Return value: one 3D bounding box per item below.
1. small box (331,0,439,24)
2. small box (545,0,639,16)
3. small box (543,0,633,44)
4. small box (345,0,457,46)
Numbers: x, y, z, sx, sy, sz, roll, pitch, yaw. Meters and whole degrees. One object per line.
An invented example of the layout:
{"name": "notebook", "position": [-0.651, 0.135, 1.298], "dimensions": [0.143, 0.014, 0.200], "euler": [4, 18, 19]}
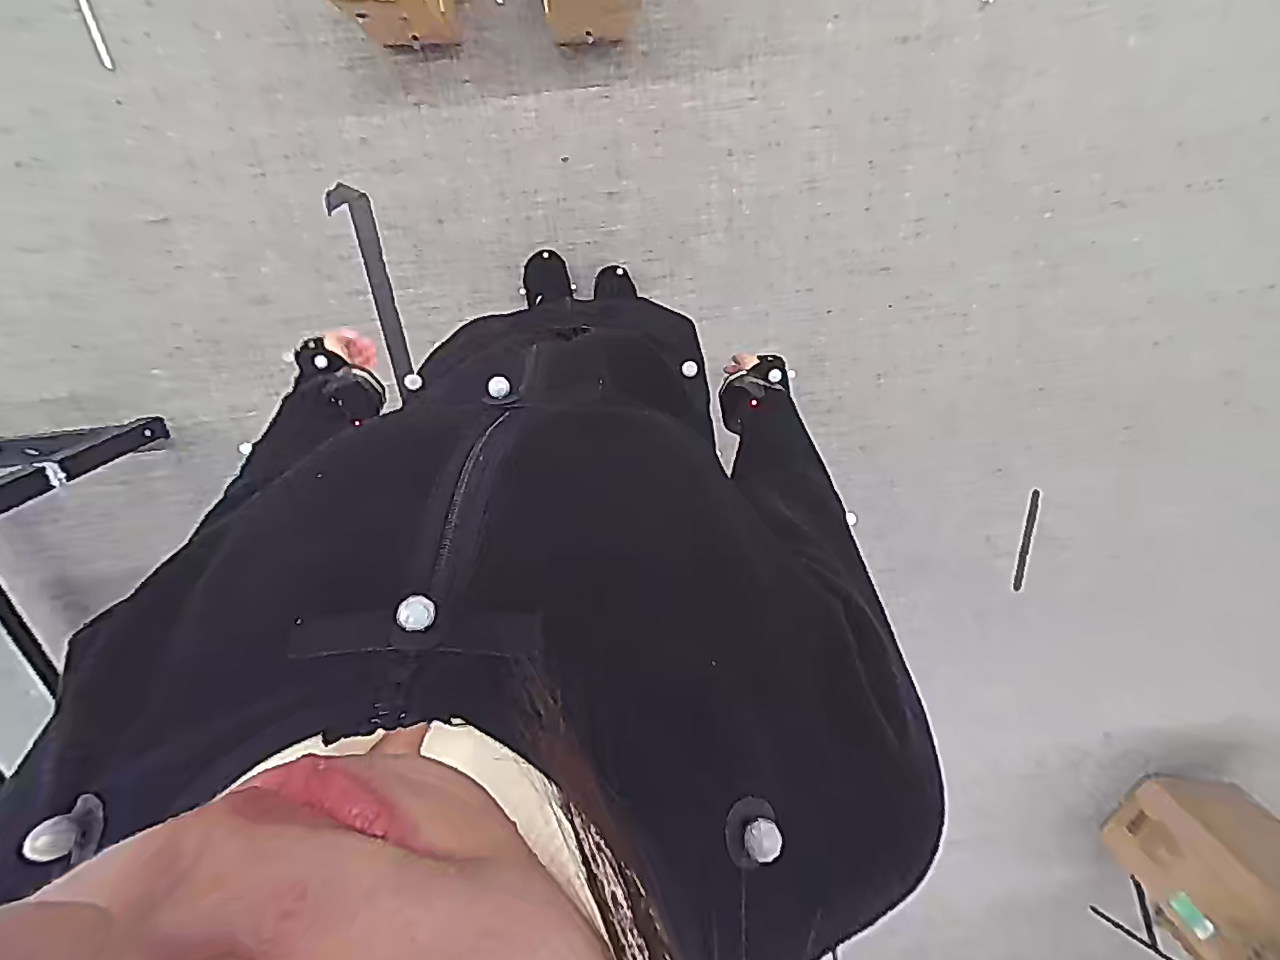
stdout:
{"name": "small box", "position": [-0.431, -0.867, 0.863], "dimensions": [0.168, 0.176, 0.179], "euler": [-1, 113, -6]}
{"name": "small box", "position": [-0.082, -0.898, 0.887], "dimensions": [0.179, 0.176, 0.168], "euler": [-7, 114, -2]}
{"name": "small box", "position": [-0.105, -0.969, 1.032], "dimensions": [0.168, 0.176, 0.179], "euler": [-5, 115, -3]}
{"name": "small box", "position": [-0.451, -0.939, 1.010], "dimensions": [0.179, 0.176, 0.168], "euler": [-5, 114, -4]}
